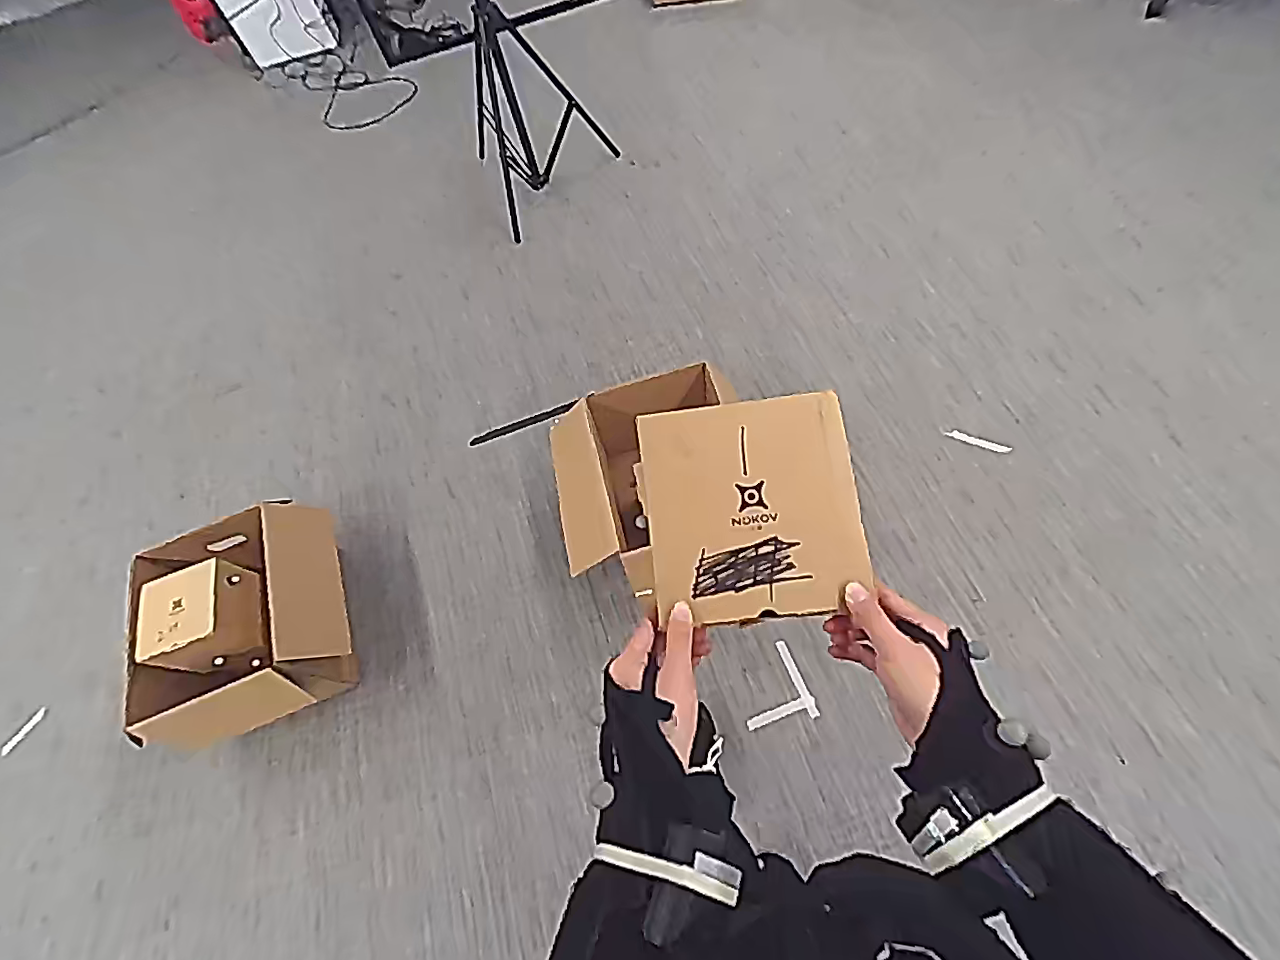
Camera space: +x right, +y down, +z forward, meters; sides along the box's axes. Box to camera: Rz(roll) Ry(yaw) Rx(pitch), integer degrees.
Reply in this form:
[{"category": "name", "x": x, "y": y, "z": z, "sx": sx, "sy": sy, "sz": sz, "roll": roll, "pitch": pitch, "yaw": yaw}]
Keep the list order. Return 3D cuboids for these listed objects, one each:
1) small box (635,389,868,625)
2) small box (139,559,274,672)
[{"category": "small box", "x": 0.091, "y": 0.035, "z": 0.505, "sx": 0.168, "sy": 0.176, "sz": 0.179, "roll": -7, "pitch": 77, "yaw": 4}, {"category": "small box", "x": -0.947, "y": 0.305, "z": 1.199, "sx": 0.168, "sy": 0.176, "sz": 0.179, "roll": -21, "pitch": 62, "yaw": -2}]
